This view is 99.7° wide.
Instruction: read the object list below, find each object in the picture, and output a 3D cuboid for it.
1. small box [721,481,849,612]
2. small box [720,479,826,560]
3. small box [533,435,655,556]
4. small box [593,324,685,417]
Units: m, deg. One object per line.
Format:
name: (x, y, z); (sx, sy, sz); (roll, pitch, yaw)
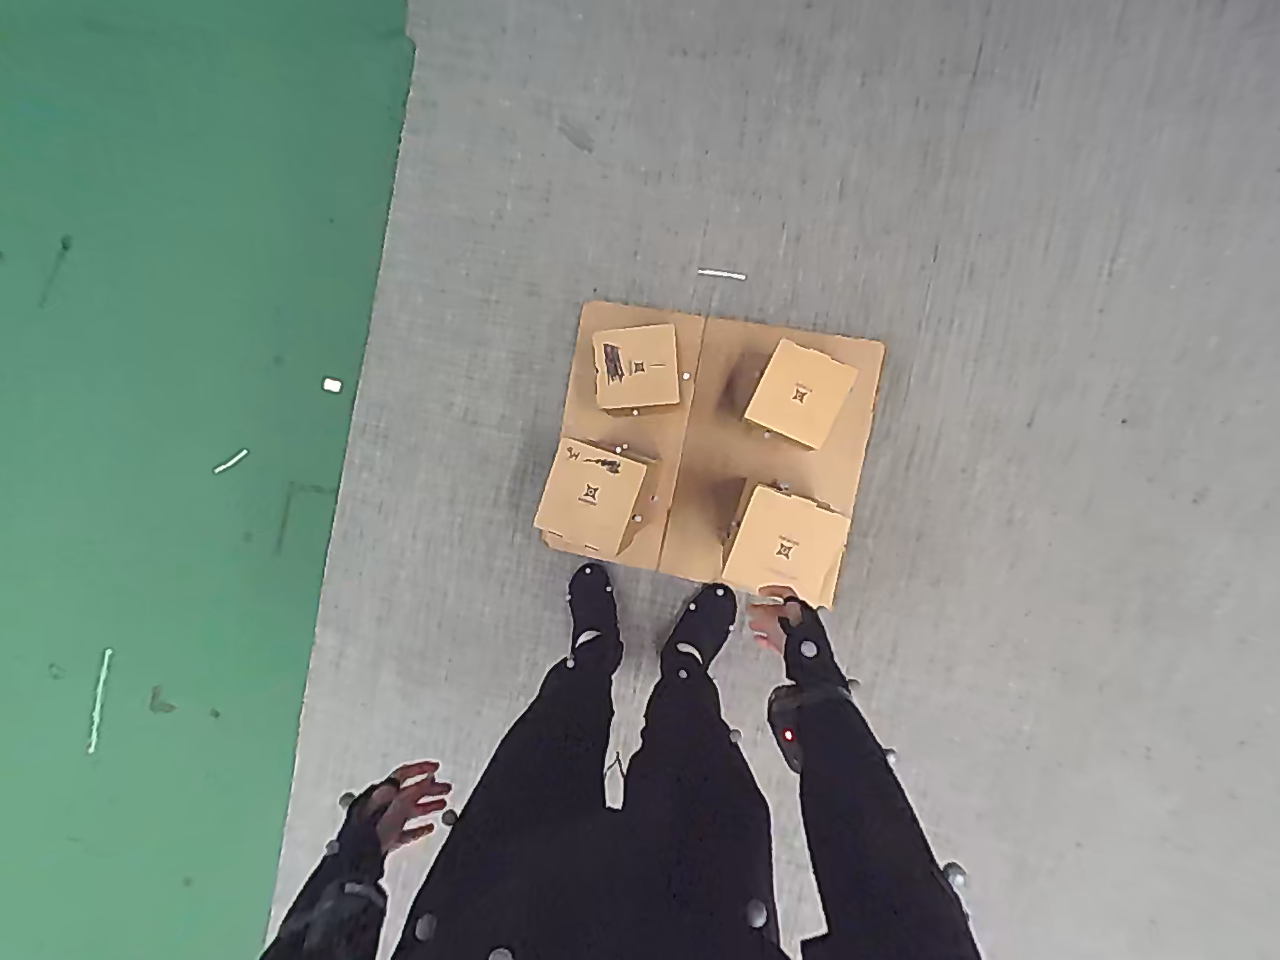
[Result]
small box: (0.253, 0.110, 0.985); (0.168, 0.176, 0.179); (22, 94, 9)
small box: (0.277, 0.104, 1.146); (0.168, 0.176, 0.179); (19, 93, 8)
small box: (-0.079, 0.025, 1.041); (0.168, 0.176, 0.179); (20, 94, 8)
small box: (0.003, -0.234, 1.193); (0.179, 0.176, 0.168); (-3, 90, 8)
